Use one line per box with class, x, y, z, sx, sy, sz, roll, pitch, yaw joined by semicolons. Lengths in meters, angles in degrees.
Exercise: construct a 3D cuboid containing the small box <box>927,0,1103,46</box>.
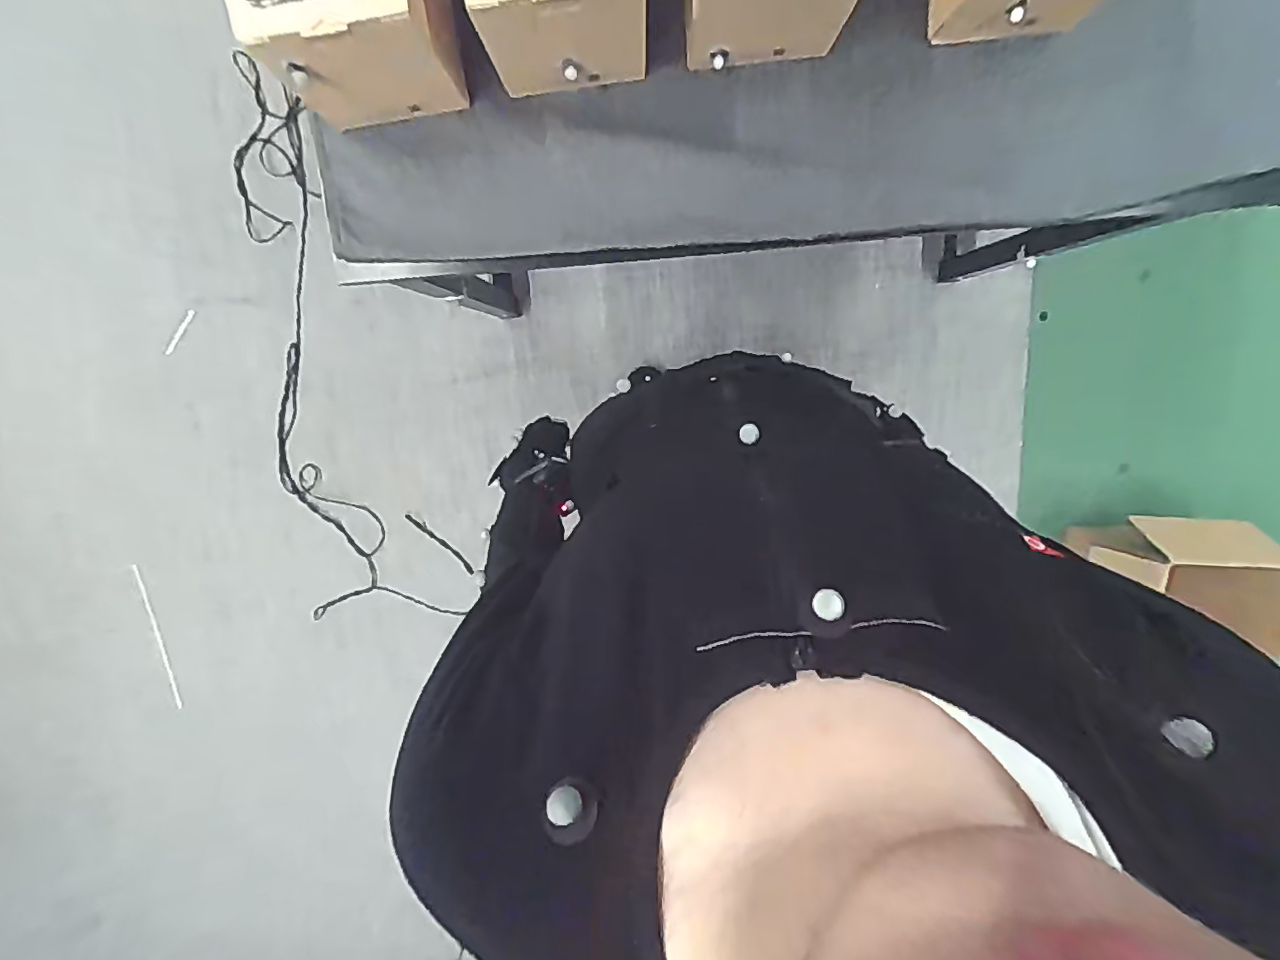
small box;0.409;-0.584;0.538;0.168;0.176;0.179;-5;102;2
